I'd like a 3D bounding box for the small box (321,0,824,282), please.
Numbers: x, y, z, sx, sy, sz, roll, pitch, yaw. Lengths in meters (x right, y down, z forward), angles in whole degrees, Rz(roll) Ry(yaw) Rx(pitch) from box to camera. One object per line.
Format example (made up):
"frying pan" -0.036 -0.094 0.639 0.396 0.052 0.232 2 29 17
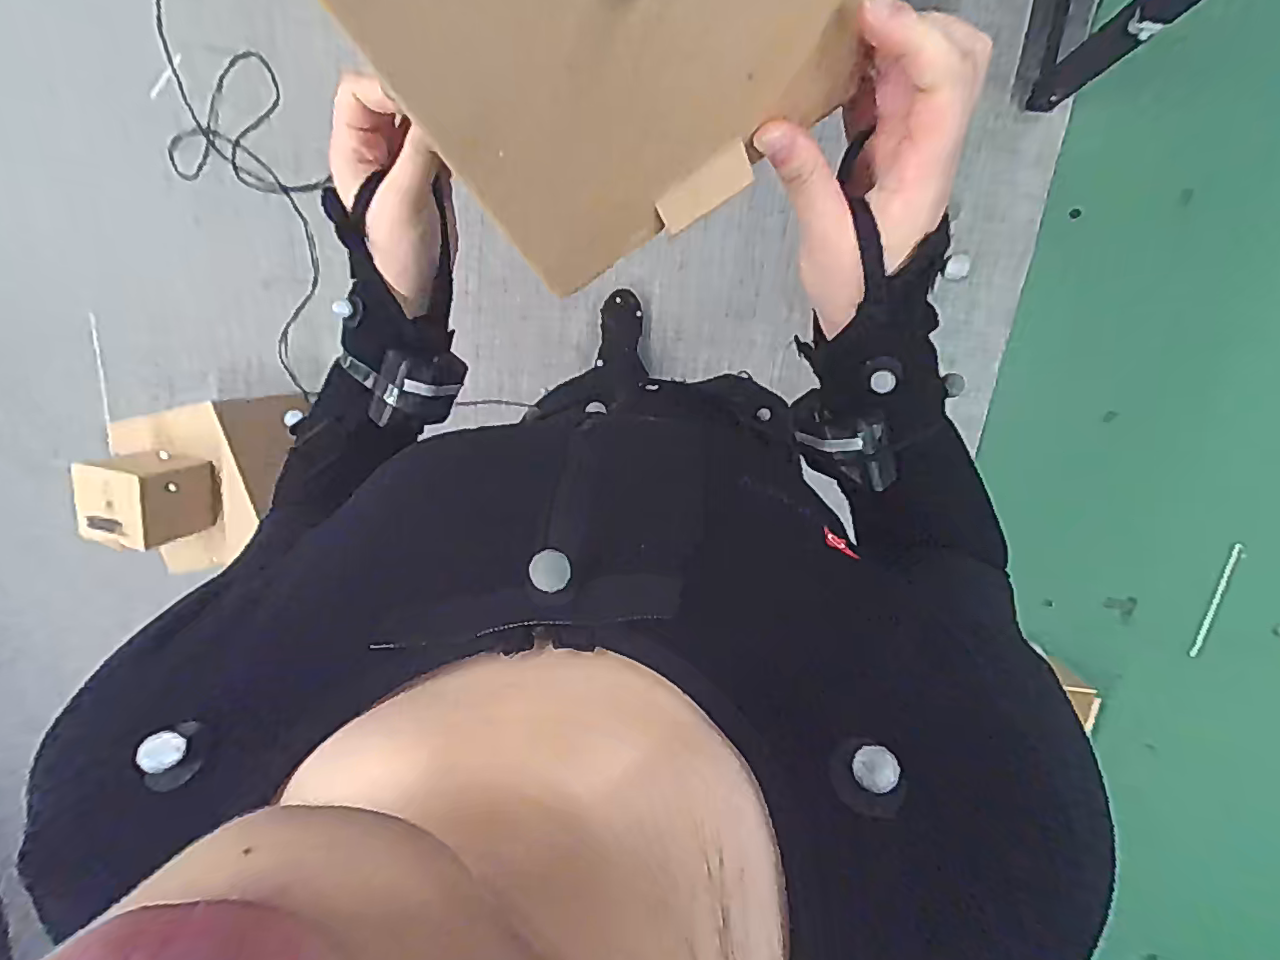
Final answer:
"small box" -0.042 -0.226 0.208 0.168 0.176 0.179 -33 72 8
